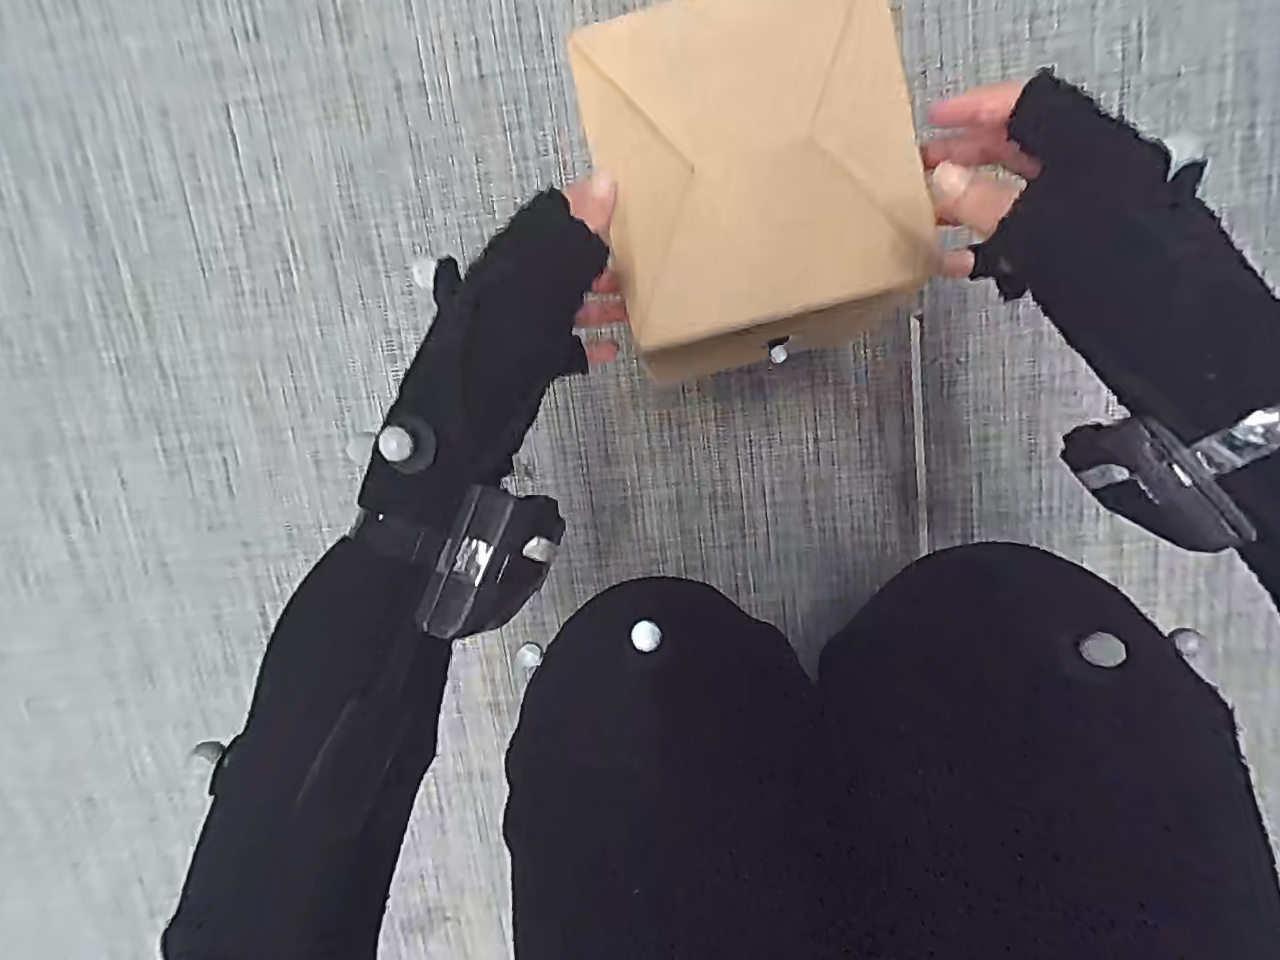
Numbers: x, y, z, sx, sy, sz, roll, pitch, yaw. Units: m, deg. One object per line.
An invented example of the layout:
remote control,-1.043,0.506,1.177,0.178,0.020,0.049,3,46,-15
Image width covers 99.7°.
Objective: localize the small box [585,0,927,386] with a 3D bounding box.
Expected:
small box,0.071,-0.173,0.370,0.168,0.176,0.179,-13,95,7
